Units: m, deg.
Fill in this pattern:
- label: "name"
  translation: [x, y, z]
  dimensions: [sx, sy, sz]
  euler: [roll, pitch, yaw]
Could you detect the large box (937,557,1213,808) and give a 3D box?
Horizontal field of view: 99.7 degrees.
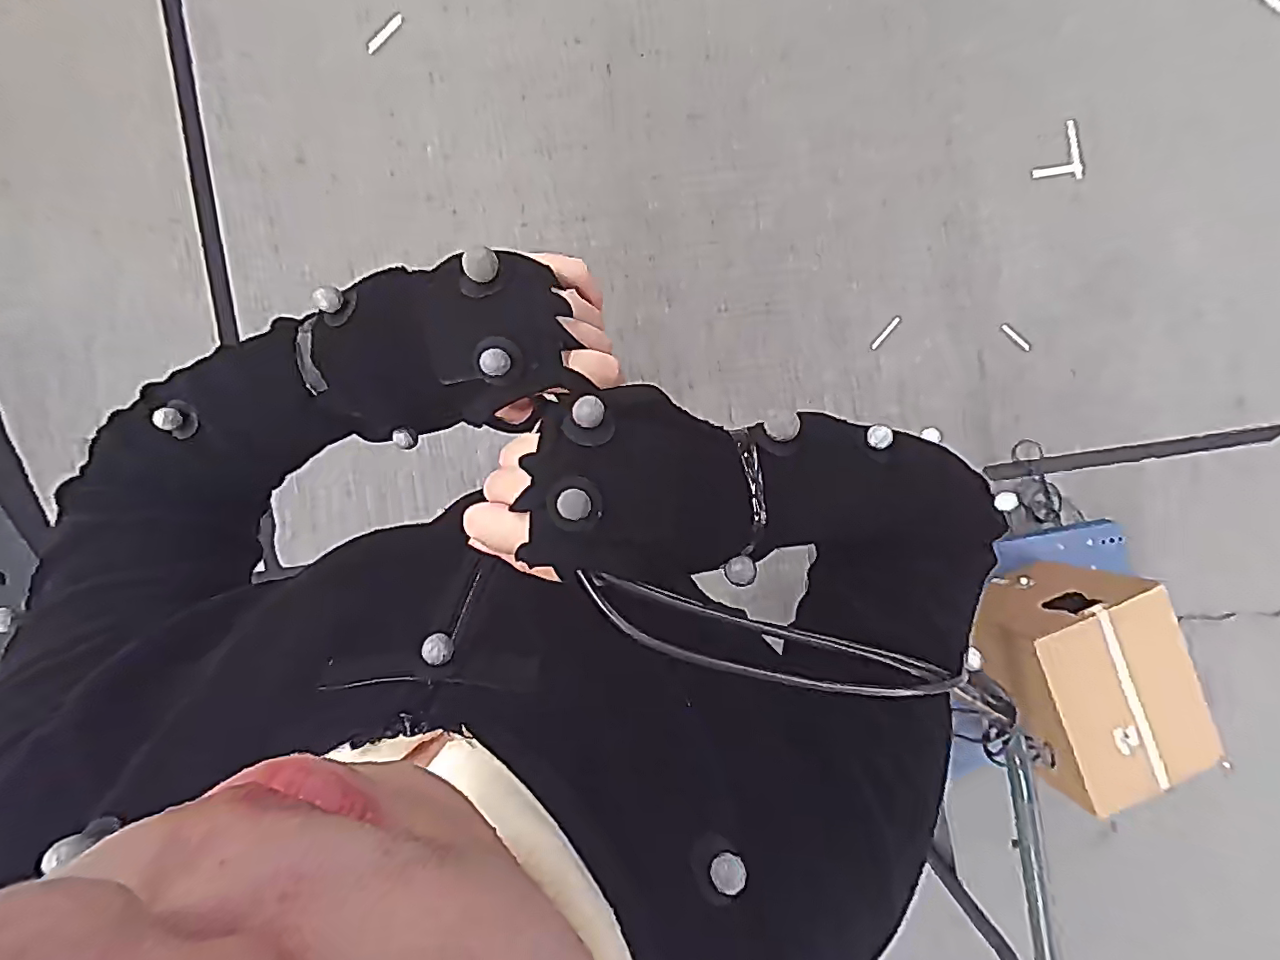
- label: "large box"
  translation: [0.983, 0.439, 1.266]
  dimensions: [0.320, 0.320, 0.408]
  euler: [-21, 93, -3]
